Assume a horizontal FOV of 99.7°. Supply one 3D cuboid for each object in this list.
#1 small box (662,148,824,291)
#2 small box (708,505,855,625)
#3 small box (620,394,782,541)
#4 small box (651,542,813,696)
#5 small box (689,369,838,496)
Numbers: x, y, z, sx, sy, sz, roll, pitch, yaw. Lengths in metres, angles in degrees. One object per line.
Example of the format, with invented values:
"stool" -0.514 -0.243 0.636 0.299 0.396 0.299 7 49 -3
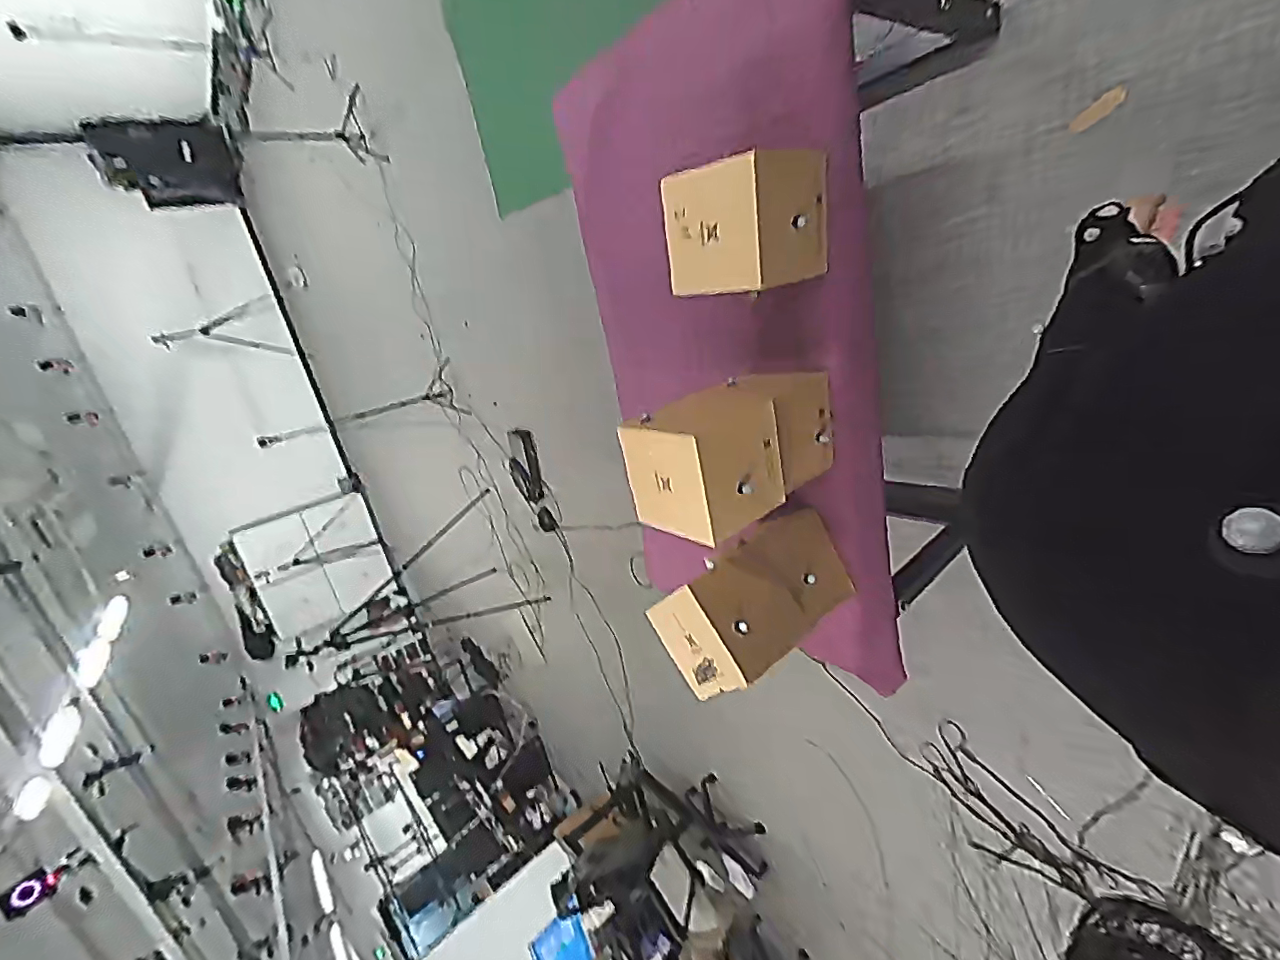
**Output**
"small box" 0.160 -0.385 0.808 0.179 0.176 0.168 17 124 47
"small box" 0.269 0.171 1.019 0.168 0.176 0.179 -30 86 56
"small box" 0.101 -0.030 0.827 0.179 0.176 0.168 13 122 51
"small box" 0.155 0.233 0.915 0.179 0.176 0.168 57 146 13
"small box" 0.213 -0.090 0.929 0.179 0.176 0.168 12 122 50
